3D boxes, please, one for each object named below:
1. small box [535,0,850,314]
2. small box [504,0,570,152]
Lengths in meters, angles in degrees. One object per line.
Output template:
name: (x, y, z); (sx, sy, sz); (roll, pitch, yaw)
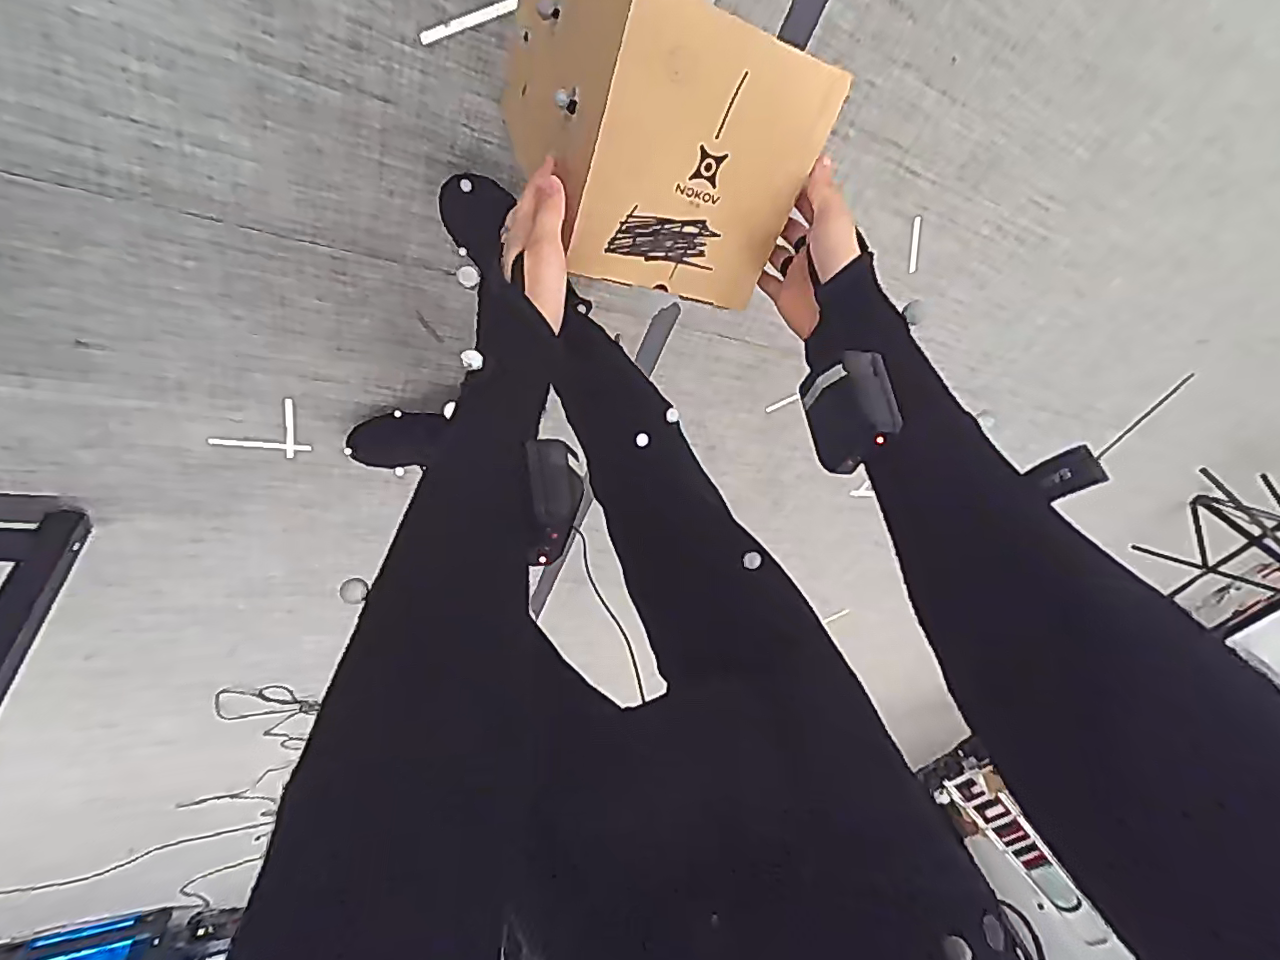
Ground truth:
small box: (0.020, -0.265, 0.434); (0.168, 0.176, 0.179); (3, 132, -27)
small box: (-0.062, -0.494, 0.655); (0.168, 0.176, 0.179); (5, 132, -26)
